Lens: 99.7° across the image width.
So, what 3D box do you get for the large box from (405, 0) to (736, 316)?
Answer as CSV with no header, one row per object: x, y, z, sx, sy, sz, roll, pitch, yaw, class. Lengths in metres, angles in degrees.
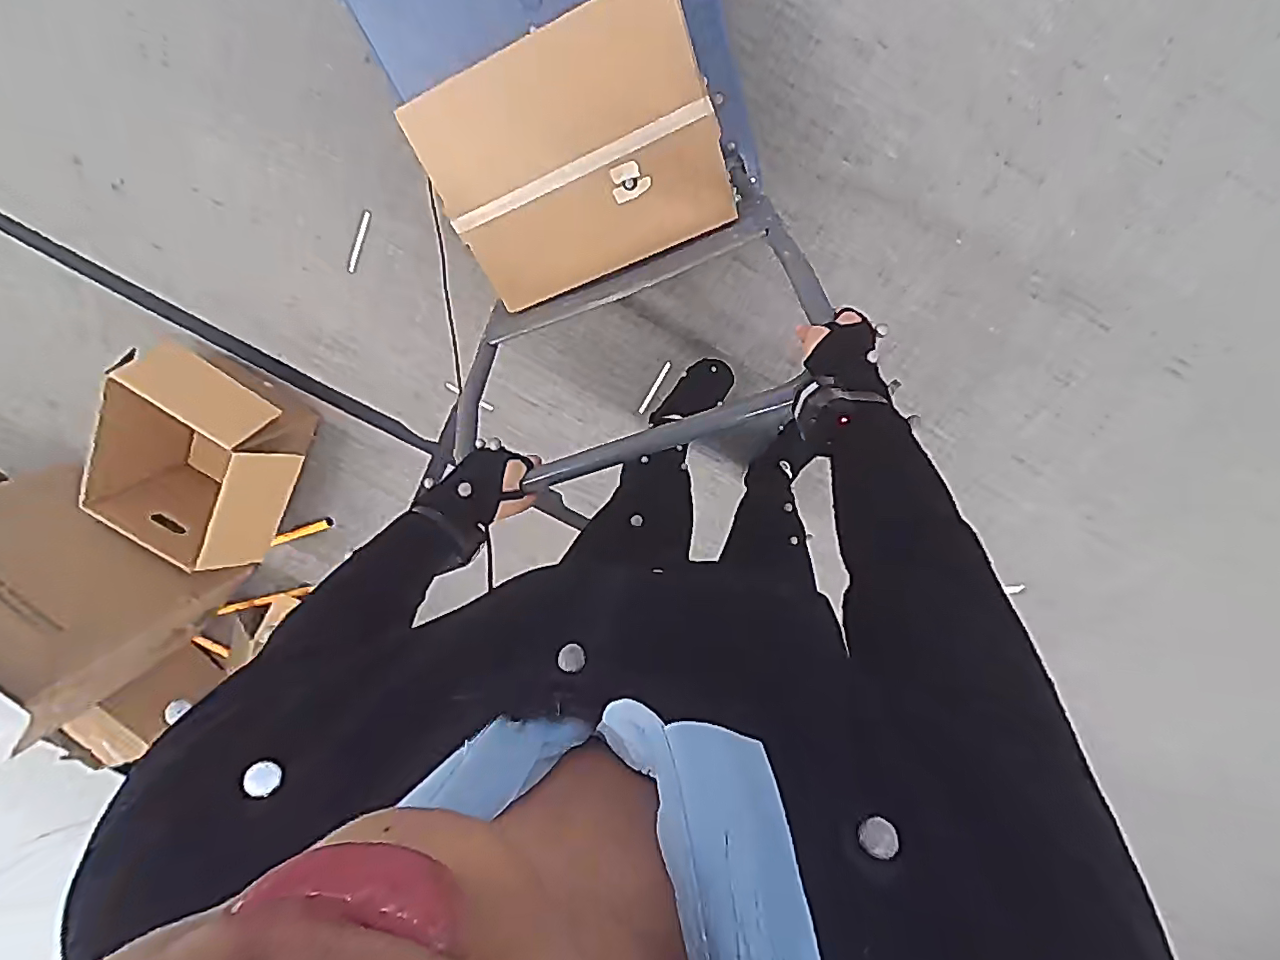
-0.094,-0.542,0.907,0.408,0.320,0.320,-19,128,13,large box
